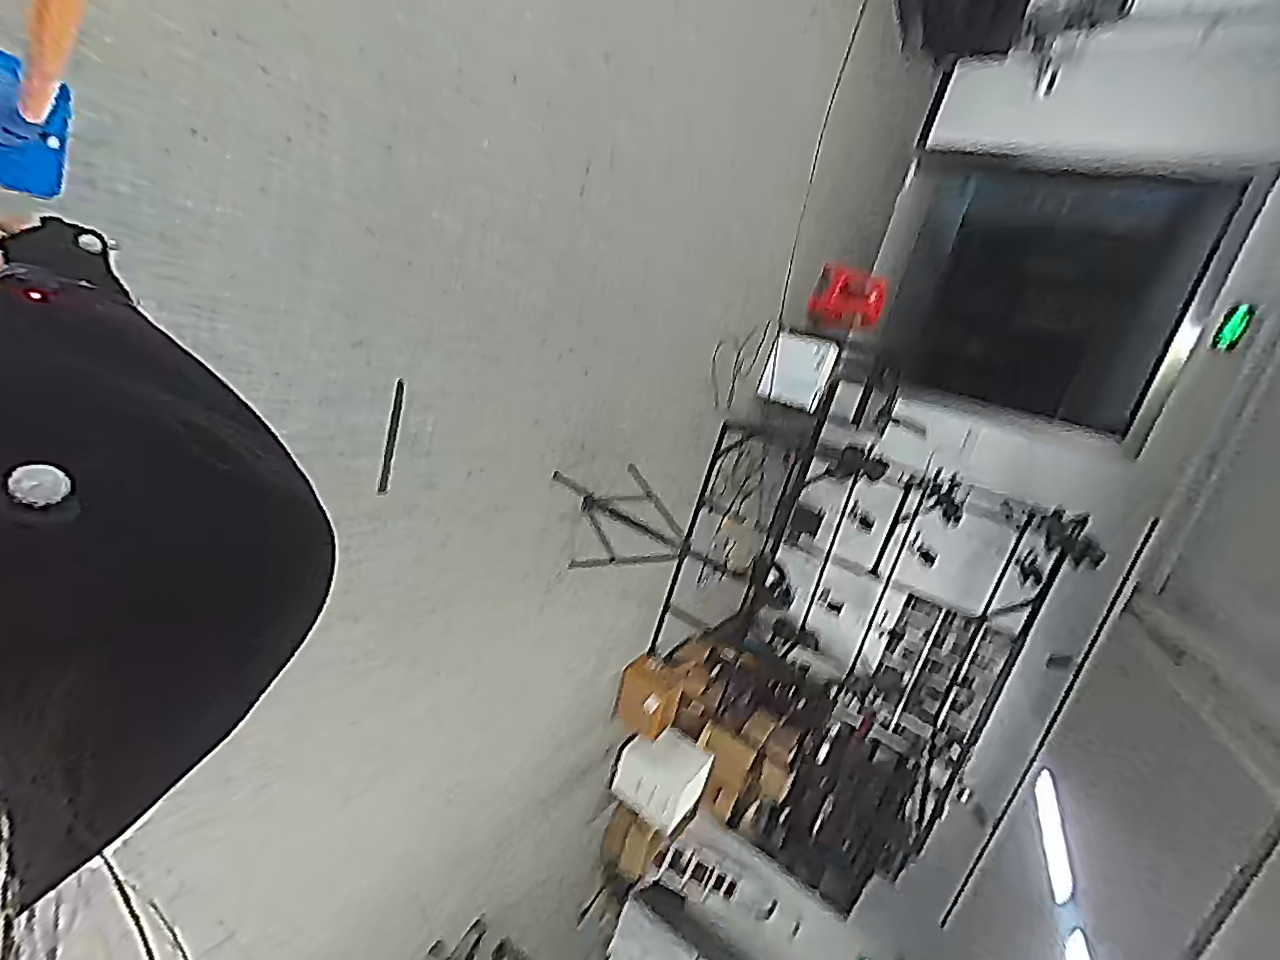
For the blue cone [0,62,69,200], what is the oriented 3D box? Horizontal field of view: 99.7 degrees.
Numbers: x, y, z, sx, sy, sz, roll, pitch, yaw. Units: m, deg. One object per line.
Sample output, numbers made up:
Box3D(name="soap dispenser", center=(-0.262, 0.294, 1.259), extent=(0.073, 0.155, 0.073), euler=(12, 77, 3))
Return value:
Box3D(name="blue cone", center=(-0.907, -0.508, 0.771), extent=(0.193, 0.380, 0.192), euler=(5, 107, -60))
